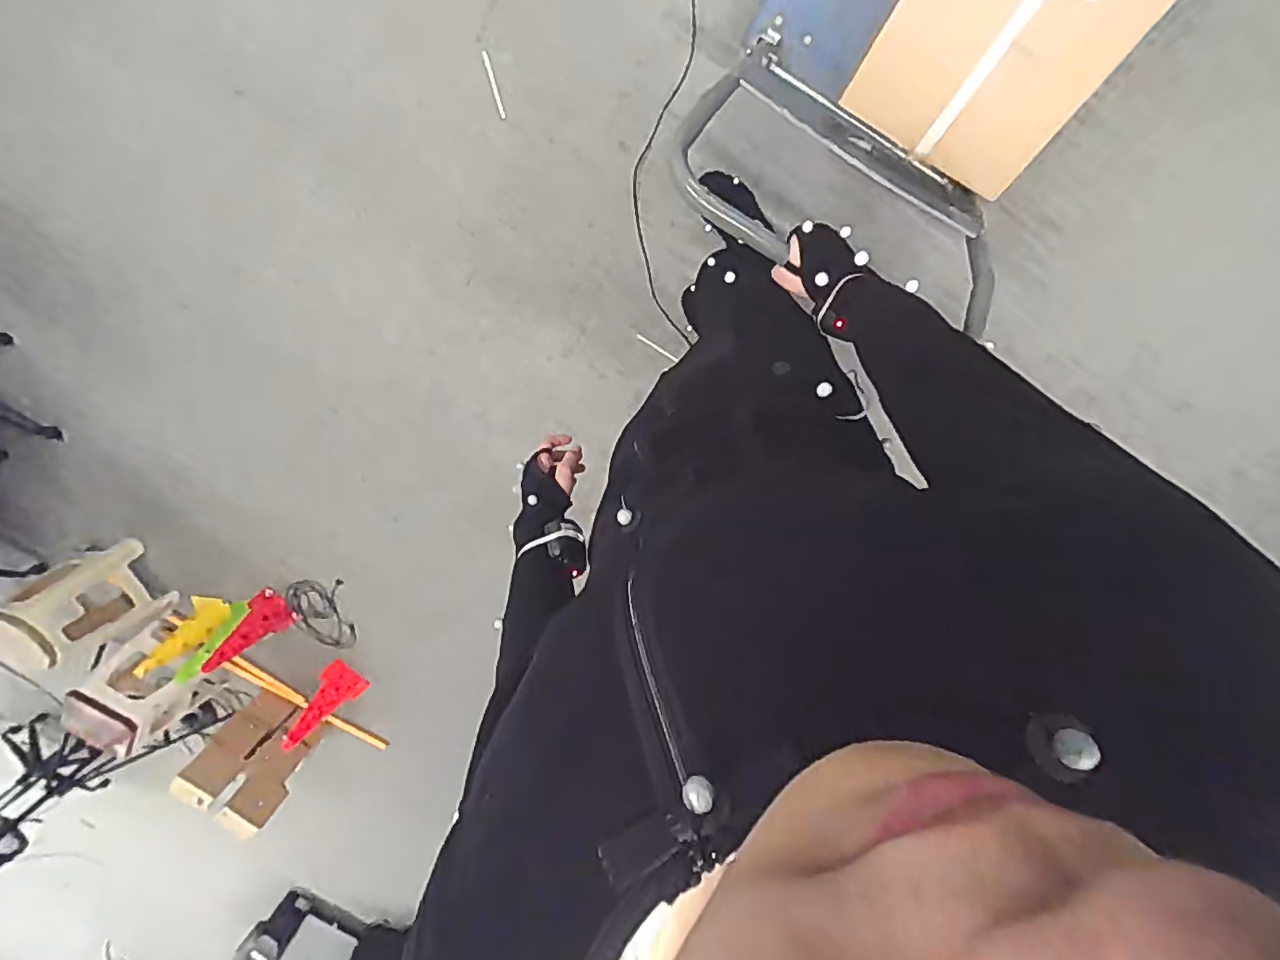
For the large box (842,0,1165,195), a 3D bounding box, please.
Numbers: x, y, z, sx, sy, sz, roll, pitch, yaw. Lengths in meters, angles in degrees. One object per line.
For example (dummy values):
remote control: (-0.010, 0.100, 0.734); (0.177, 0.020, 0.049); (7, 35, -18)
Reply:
large box: (0.581, -0.760, 0.867); (0.320, 0.320, 0.408); (28, 135, -4)
